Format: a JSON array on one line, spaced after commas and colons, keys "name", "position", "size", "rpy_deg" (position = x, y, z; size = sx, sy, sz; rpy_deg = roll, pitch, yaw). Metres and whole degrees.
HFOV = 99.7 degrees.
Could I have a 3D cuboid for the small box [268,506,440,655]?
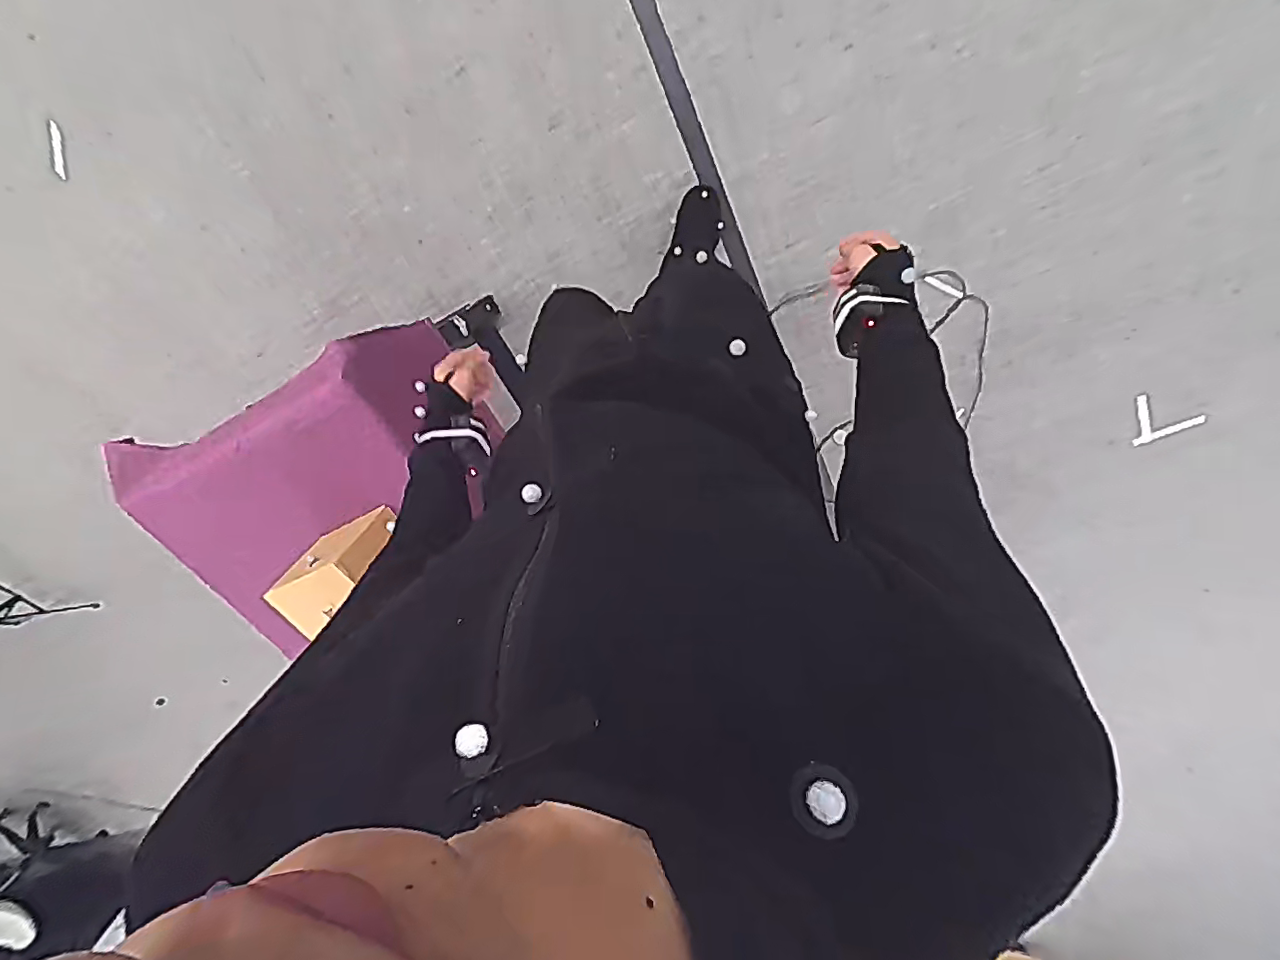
[{"name": "small box", "position": [-0.500, 0.177, 0.973], "size": [0.179, 0.176, 0.168], "rpy_deg": [-24, 115, 18]}]
